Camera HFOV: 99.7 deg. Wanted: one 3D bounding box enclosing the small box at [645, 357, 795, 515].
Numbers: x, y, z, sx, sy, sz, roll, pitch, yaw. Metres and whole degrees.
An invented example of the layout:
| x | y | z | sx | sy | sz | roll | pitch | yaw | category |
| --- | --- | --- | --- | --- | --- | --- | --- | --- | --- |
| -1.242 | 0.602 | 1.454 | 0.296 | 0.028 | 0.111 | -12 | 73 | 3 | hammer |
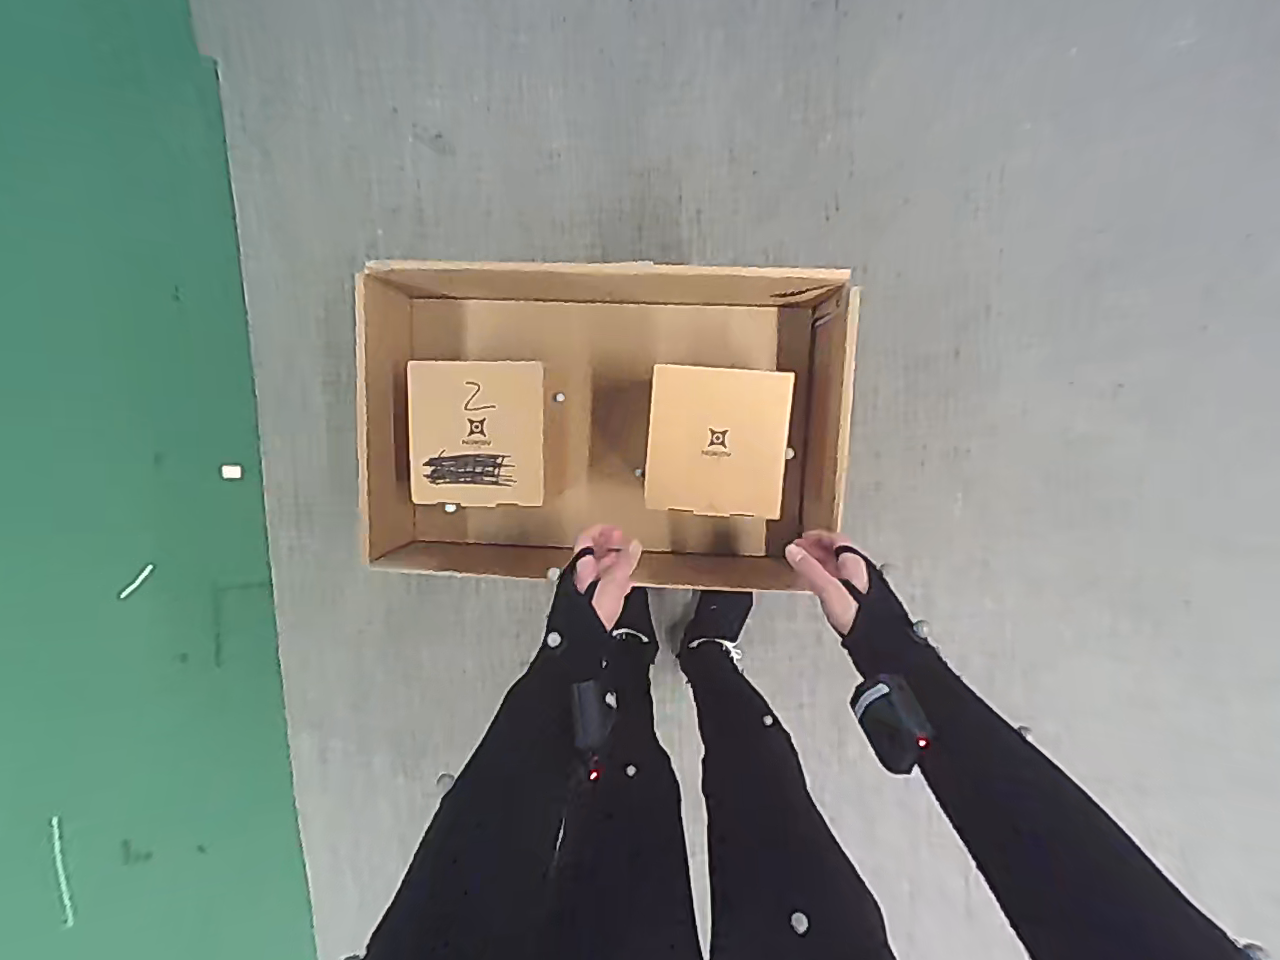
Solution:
| x | y | z | sx | sy | sz | roll | pitch | yaw | category |
| --- | --- | --- | --- | --- | --- | --- | --- | --- | --- |
| 0.095 | -0.060 | 0.716 | 0.168 | 0.176 | 0.179 | 5 | 97 | 2 | small box |
